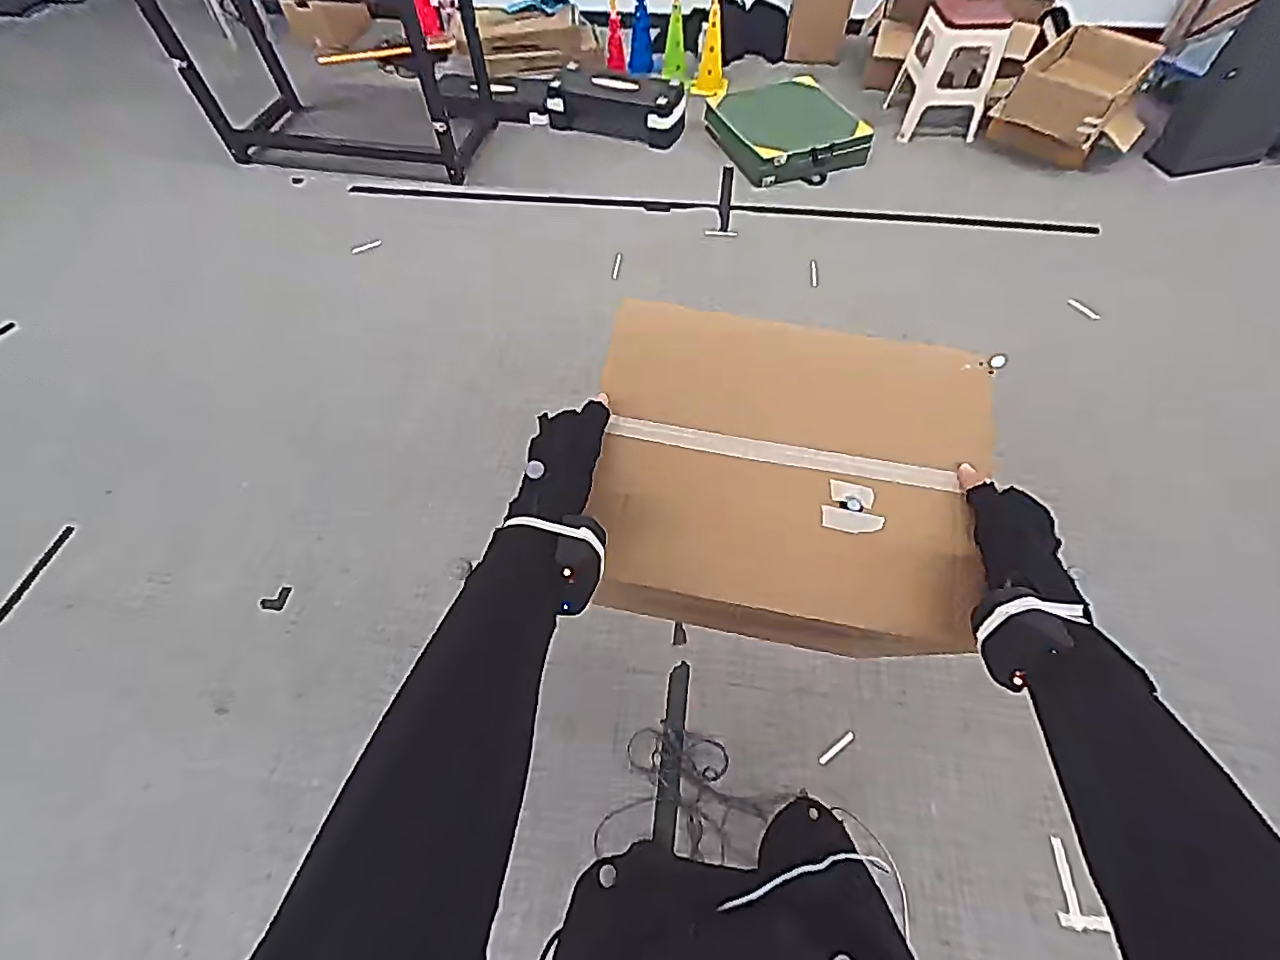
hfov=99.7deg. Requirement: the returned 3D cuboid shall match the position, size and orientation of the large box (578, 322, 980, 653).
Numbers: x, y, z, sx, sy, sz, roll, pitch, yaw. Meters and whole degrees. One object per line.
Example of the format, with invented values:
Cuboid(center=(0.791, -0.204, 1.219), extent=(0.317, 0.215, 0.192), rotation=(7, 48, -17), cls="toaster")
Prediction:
Cuboid(center=(0.154, 0.034, 0.715), extent=(0.408, 0.320, 0.320), rotation=(10, 72, 3), cls="large box")
